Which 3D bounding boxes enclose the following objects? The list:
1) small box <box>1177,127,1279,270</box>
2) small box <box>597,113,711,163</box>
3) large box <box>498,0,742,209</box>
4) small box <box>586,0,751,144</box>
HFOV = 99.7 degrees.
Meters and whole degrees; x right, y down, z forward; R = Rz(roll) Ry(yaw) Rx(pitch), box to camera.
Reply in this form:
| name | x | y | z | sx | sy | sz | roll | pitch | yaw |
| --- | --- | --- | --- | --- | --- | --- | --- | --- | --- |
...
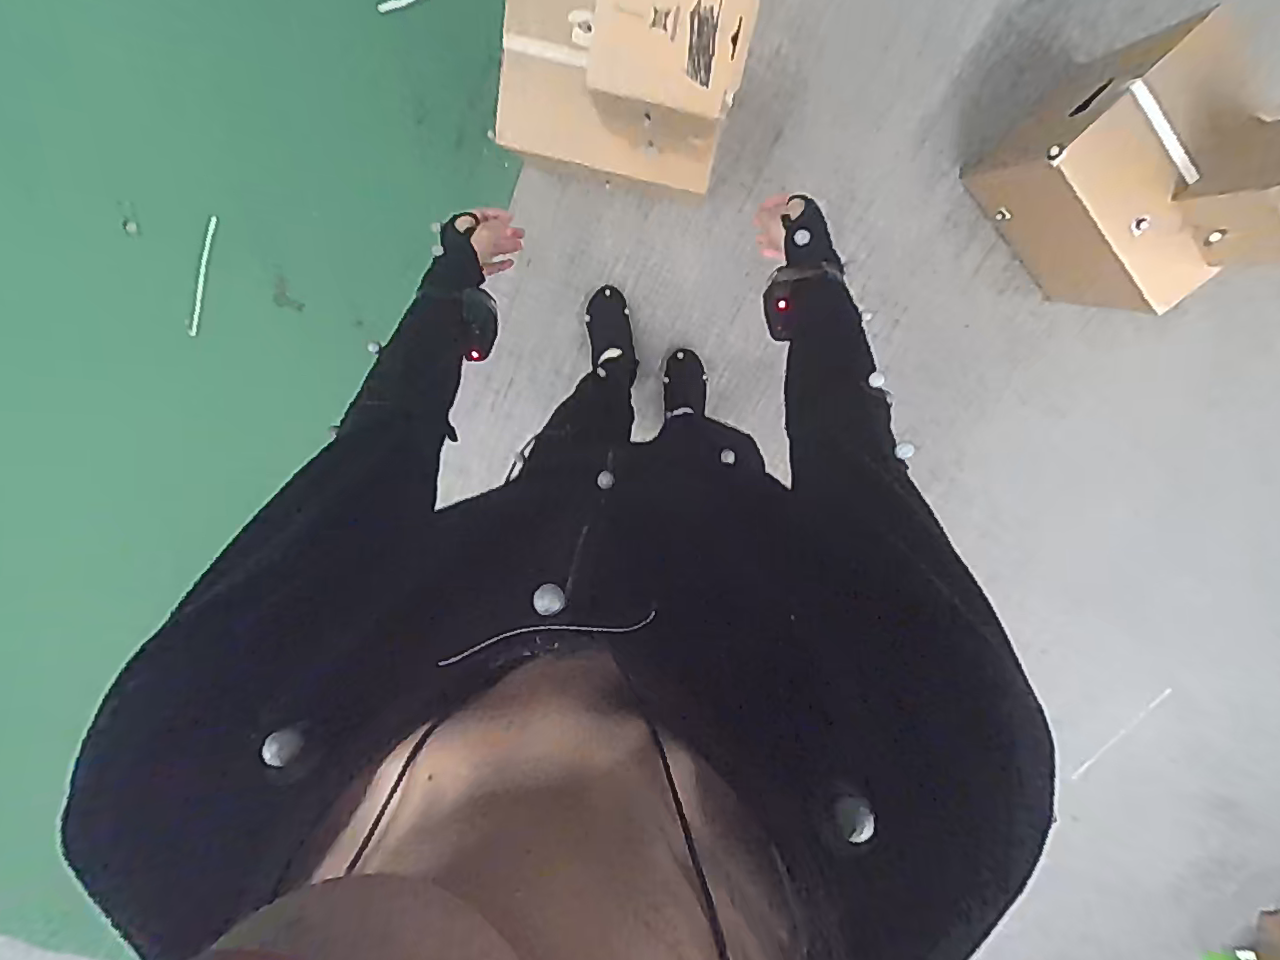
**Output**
| name | x | y | z | sx | sy | sz | roll | pitch | yaw |
| --- | --- | --- | --- | --- | --- | --- | --- | --- | --- |
| small box | 1.088 | -0.478 | 0.909 | 0.168 | 0.176 | 0.179 | 43 | 106 | -14 |
| small box | 0.041 | -0.630 | 0.868 | 0.179 | 0.176 | 0.168 | 16 | 112 | -5 |
| large box | -0.032 | -0.756 | 1.083 | 0.408 | 0.320 | 0.320 | 12 | 111 | -2 |
| small box | 0.037 | -0.565 | 0.716 | 0.179 | 0.176 | 0.168 | 12 | 112 | -2 |
